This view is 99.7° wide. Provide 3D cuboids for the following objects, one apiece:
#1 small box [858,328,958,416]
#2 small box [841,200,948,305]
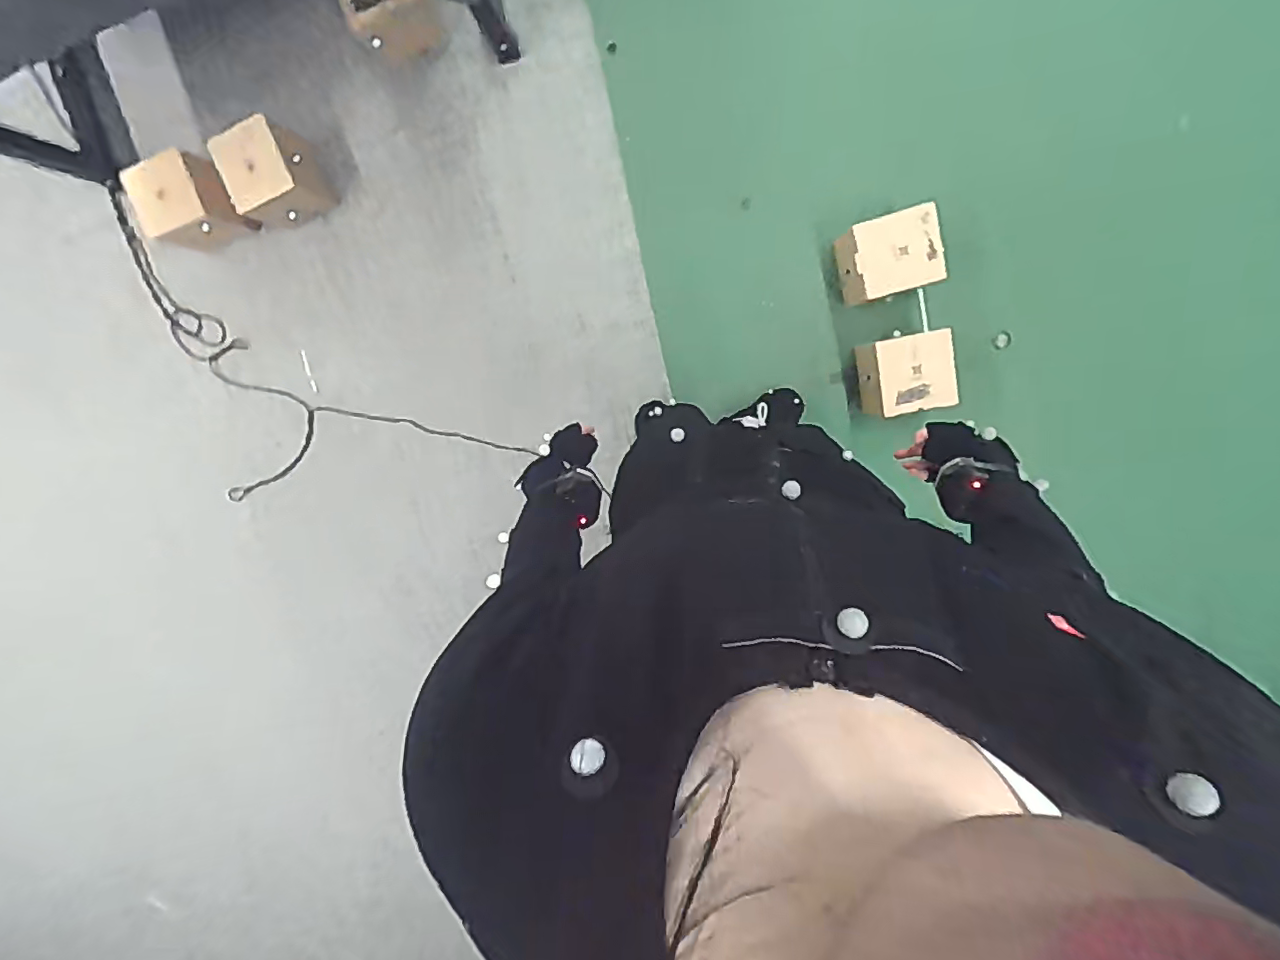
[{"bbox_3d":[0.637,-0.260,1.299,0.168,0.176,0.179,-10,100,8],"label":"small box"},{"bbox_3d":[0.577,-0.515,1.251,0.179,0.176,0.168,-13,100,10],"label":"small box"}]
